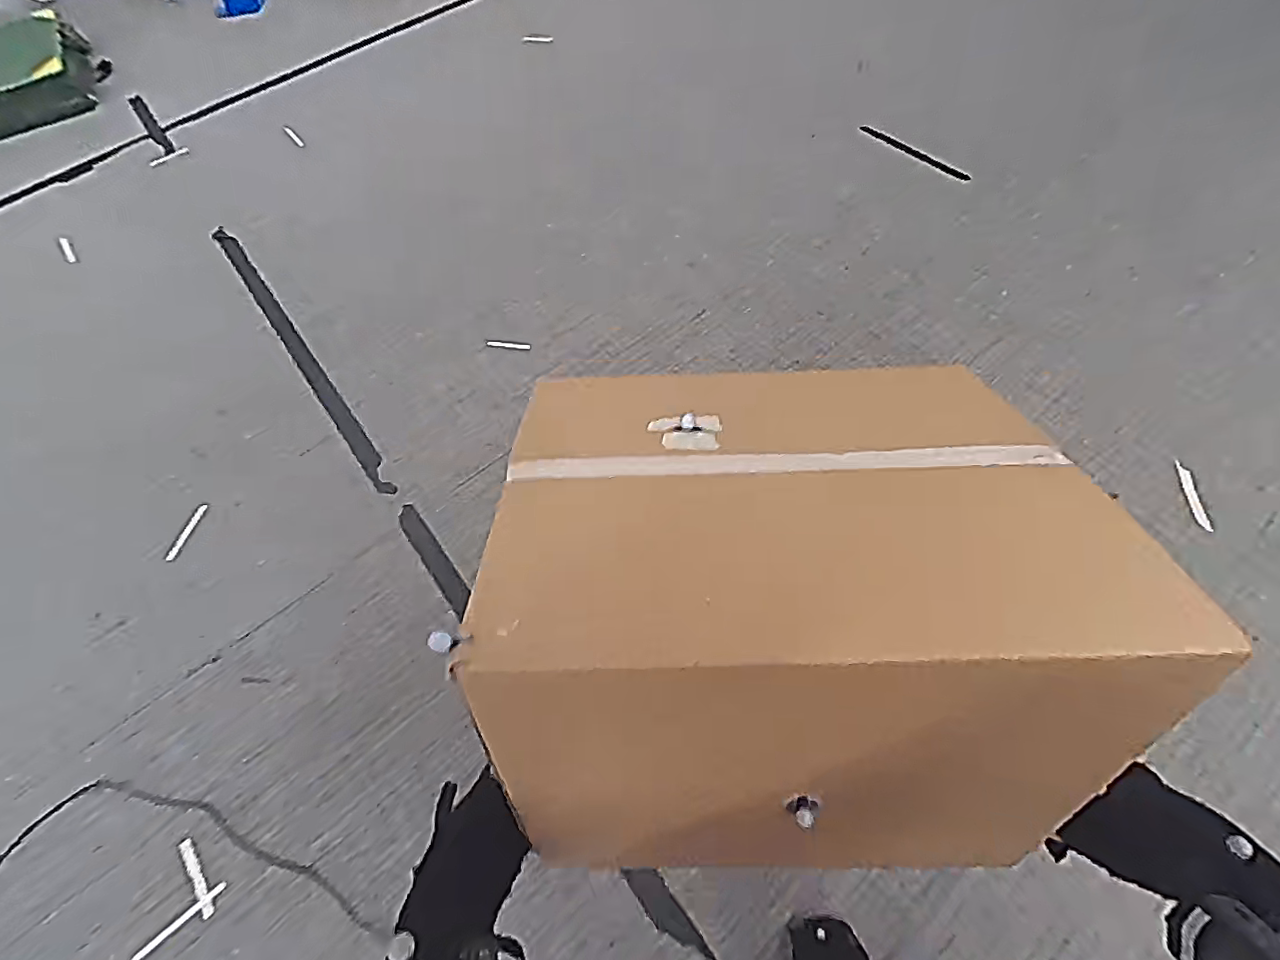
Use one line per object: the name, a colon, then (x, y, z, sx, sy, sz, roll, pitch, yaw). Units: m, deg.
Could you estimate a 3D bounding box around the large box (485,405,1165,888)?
large box: (0.115, 0.151, 0.519, 0.408, 0.320, 0.320, -4, 36, 2)
